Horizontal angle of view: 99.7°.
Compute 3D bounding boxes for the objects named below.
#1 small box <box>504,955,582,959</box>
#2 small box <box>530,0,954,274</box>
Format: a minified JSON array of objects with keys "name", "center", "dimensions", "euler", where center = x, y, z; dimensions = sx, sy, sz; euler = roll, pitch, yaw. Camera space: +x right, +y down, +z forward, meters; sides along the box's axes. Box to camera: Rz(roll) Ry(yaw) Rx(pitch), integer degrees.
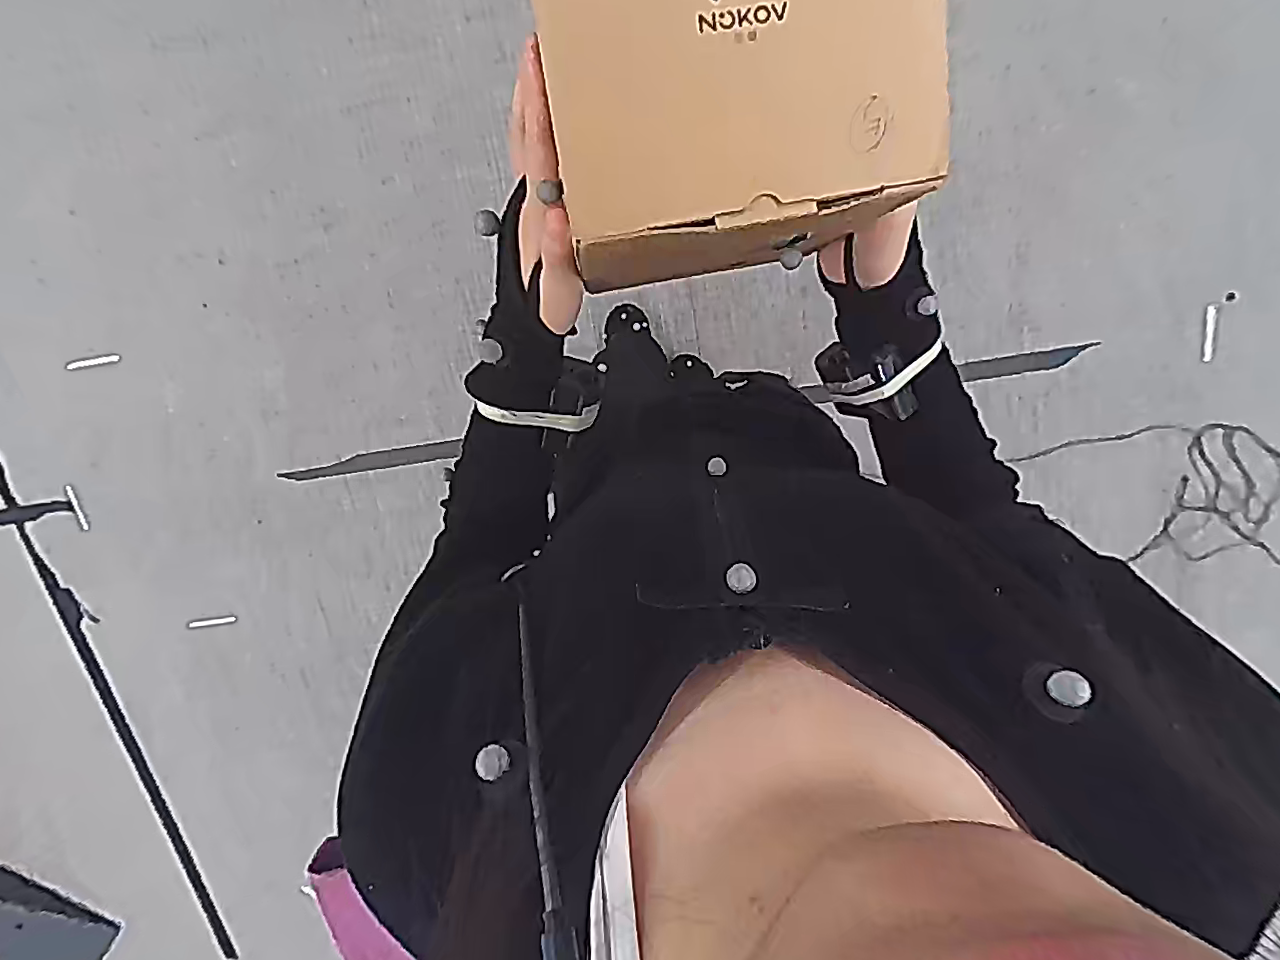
[{"name":"small box","center":[-0.168,0.960,0.917],"dimensions":[0.168,0.176,0.179],"euler":[-4,104,2]},{"name":"small box","center":[0.033,-0.216,0.285],"dimensions":[0.168,0.176,0.179],"euler":[-11,102,-2]}]
